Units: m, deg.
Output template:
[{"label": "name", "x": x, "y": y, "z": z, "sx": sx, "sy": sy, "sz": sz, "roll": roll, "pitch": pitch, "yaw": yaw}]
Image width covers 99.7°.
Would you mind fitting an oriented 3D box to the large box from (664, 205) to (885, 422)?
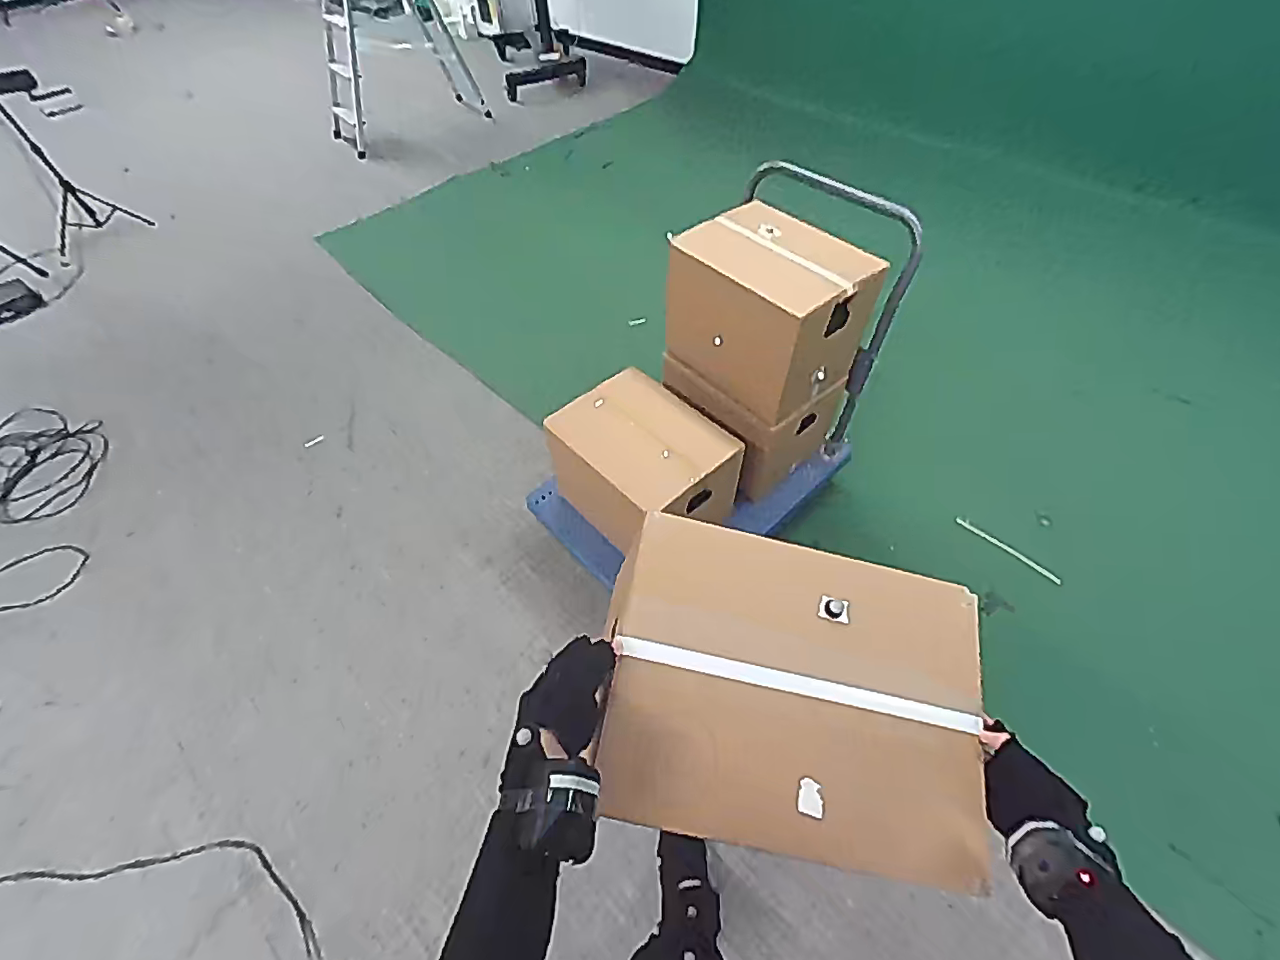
[{"label": "large box", "x": 0.305, "y": -0.416, "z": 1.339, "sx": 0.320, "sy": 0.320, "sz": 0.408, "roll": -34, "pitch": 57, "yaw": -24}]
